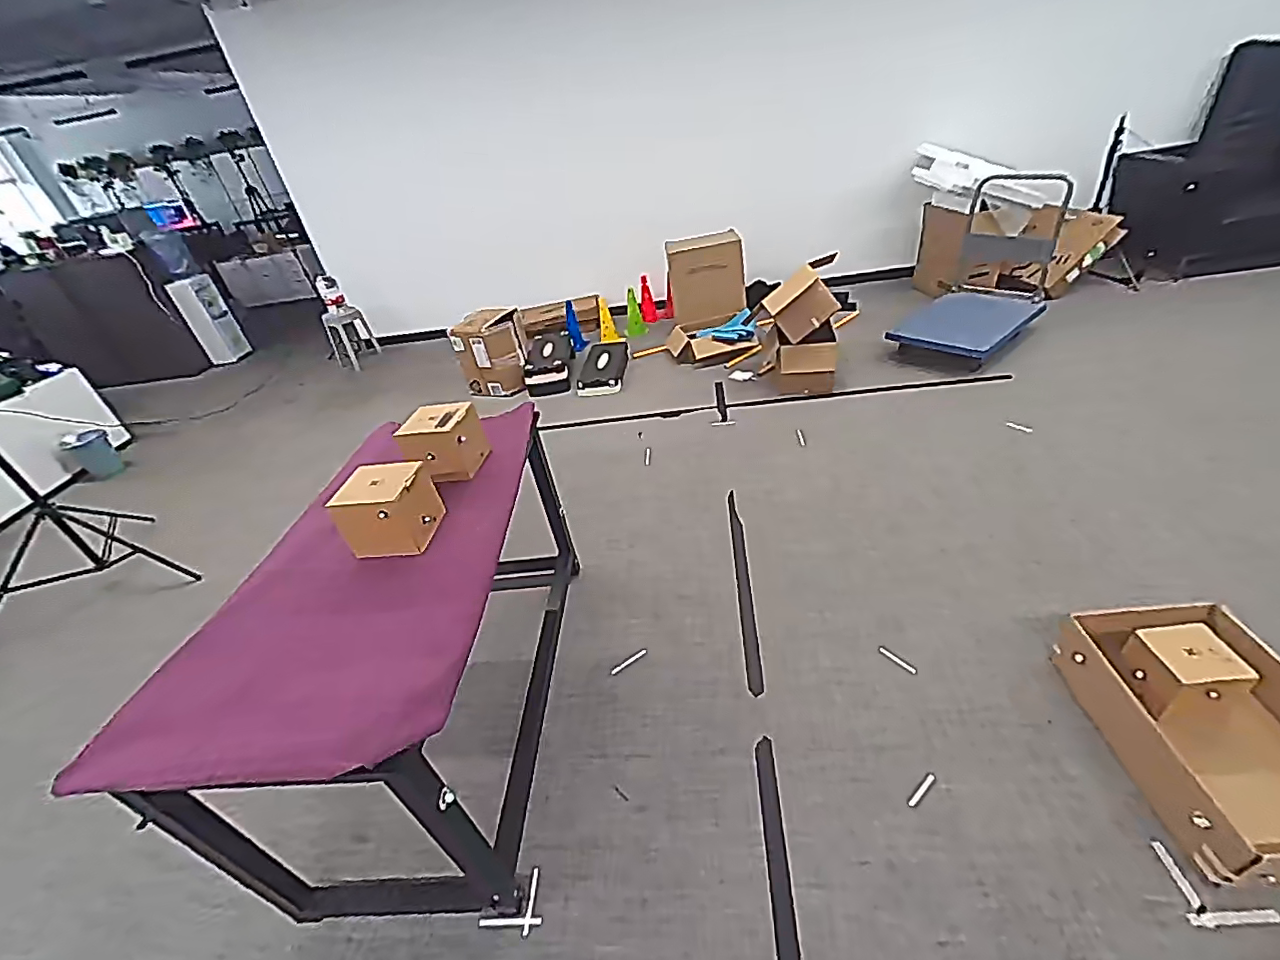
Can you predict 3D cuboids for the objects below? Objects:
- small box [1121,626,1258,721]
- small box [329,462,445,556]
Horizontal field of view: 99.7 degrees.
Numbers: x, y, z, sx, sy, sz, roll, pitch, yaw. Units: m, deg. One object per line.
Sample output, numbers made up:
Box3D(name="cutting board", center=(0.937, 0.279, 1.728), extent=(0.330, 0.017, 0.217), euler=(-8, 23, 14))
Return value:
Box3D(name="small box", center=(1.411, 0.508, 1.410), extent=(0.179, 0.176, 0.168), euler=(-7, 36, 5))
Box3D(name="small box", center=(-0.616, 0.075, 1.340), extent=(0.179, 0.176, 0.168), euler=(-4, 35, 8))
